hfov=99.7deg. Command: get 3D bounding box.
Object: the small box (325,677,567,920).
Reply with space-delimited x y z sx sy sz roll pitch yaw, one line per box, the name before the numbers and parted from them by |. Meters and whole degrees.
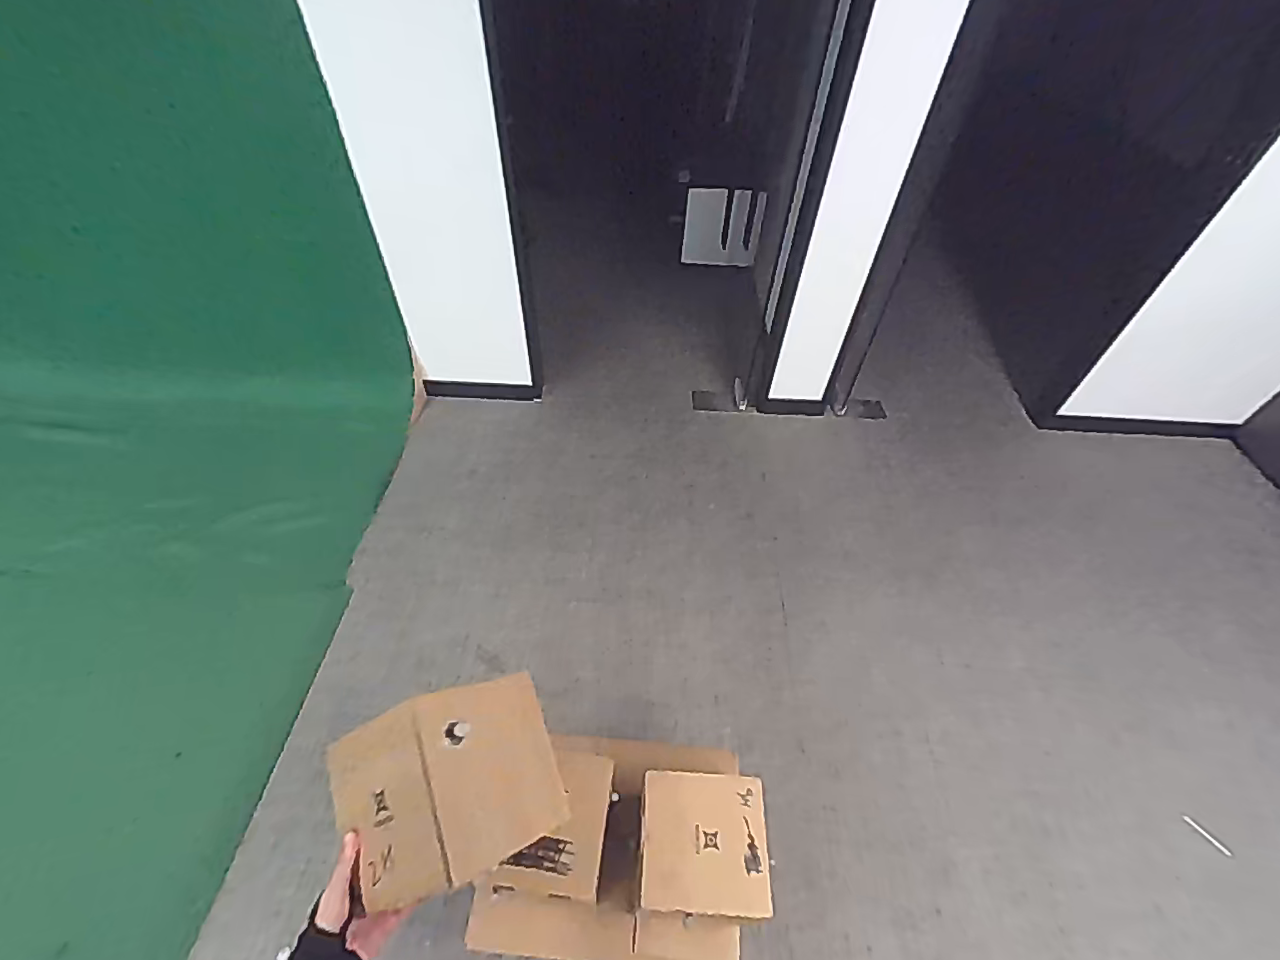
small box | -0.214 0.339 0.607 0.176 0.168 0.179 5 55 -56
